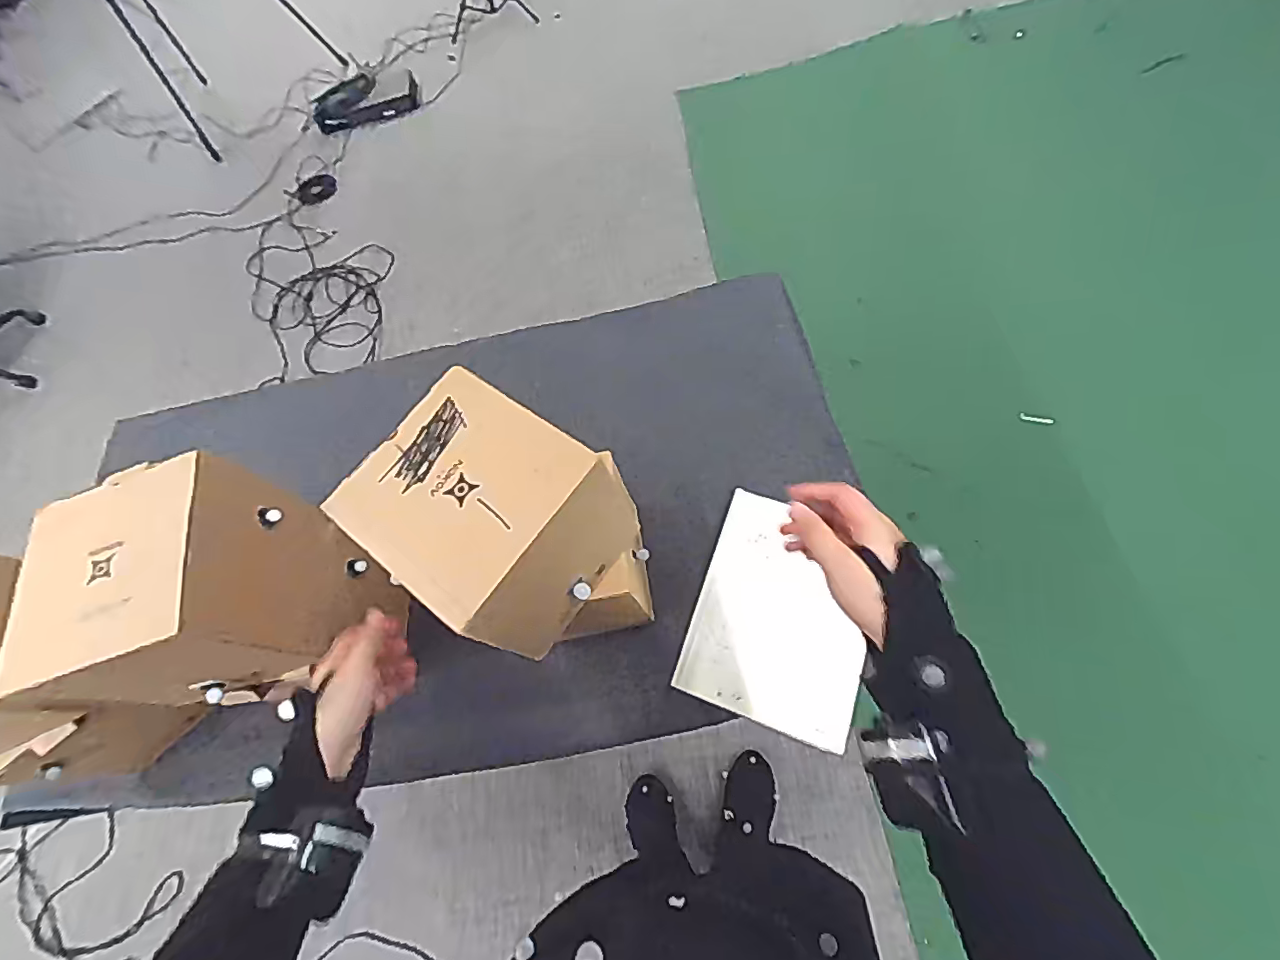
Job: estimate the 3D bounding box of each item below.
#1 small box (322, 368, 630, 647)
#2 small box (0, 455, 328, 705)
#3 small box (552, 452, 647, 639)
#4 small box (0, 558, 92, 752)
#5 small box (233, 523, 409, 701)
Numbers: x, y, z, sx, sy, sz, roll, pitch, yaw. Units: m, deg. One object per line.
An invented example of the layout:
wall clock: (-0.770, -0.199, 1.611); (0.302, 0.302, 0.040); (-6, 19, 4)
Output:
small box: (-0.134, 0.035, 0.501); (0.179, 0.176, 0.168); (32, 76, 22)
small box: (-0.437, 0.107, 0.531); (0.168, 0.176, 0.179); (-20, 64, 3)
small box: (-0.093, 0.089, 0.652); (0.179, 0.176, 0.168); (-13, 64, 6)
small box: (-0.714, 0.191, 0.549); (0.179, 0.176, 0.168); (-26, 64, 0)
small box: (-0.412, 0.173, 0.678); (0.168, 0.176, 0.179); (-10, 64, 8)
